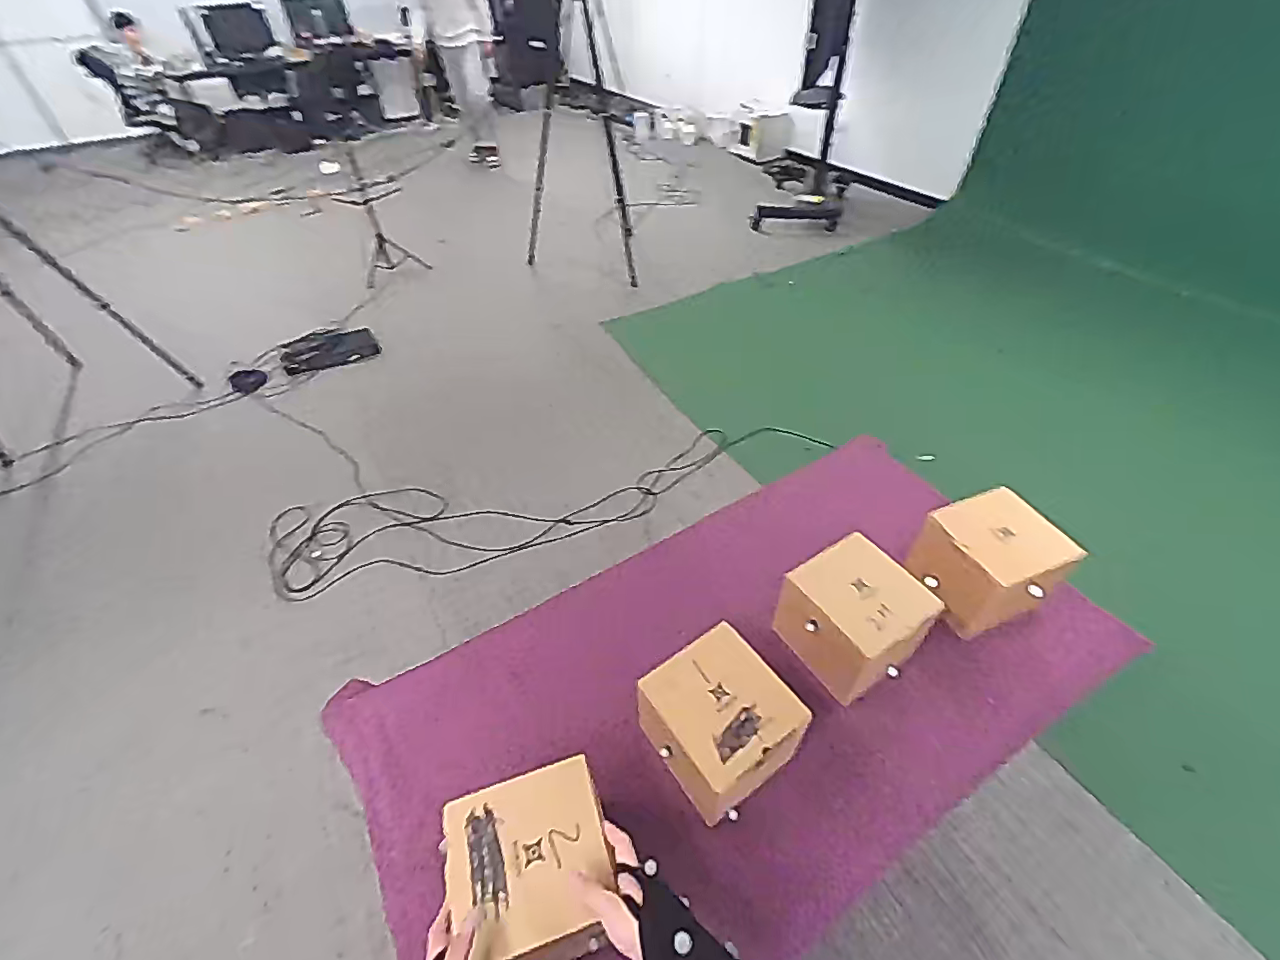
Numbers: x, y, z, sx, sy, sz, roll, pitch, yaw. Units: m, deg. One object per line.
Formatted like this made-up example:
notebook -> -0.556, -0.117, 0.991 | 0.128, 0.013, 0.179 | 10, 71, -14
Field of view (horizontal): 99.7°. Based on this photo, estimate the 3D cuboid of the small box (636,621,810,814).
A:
small box -> 0.113, 0.346, 0.781 | 0.168, 0.176, 0.179 | -28, 50, -22

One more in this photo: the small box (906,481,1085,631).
small box -> 0.611, 0.135, 0.957 | 0.179, 0.176, 0.168 | -18, 48, -13

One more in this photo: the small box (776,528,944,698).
small box -> 0.347, 0.219, 0.890 | 0.168, 0.176, 0.179 | -26, 50, -20
